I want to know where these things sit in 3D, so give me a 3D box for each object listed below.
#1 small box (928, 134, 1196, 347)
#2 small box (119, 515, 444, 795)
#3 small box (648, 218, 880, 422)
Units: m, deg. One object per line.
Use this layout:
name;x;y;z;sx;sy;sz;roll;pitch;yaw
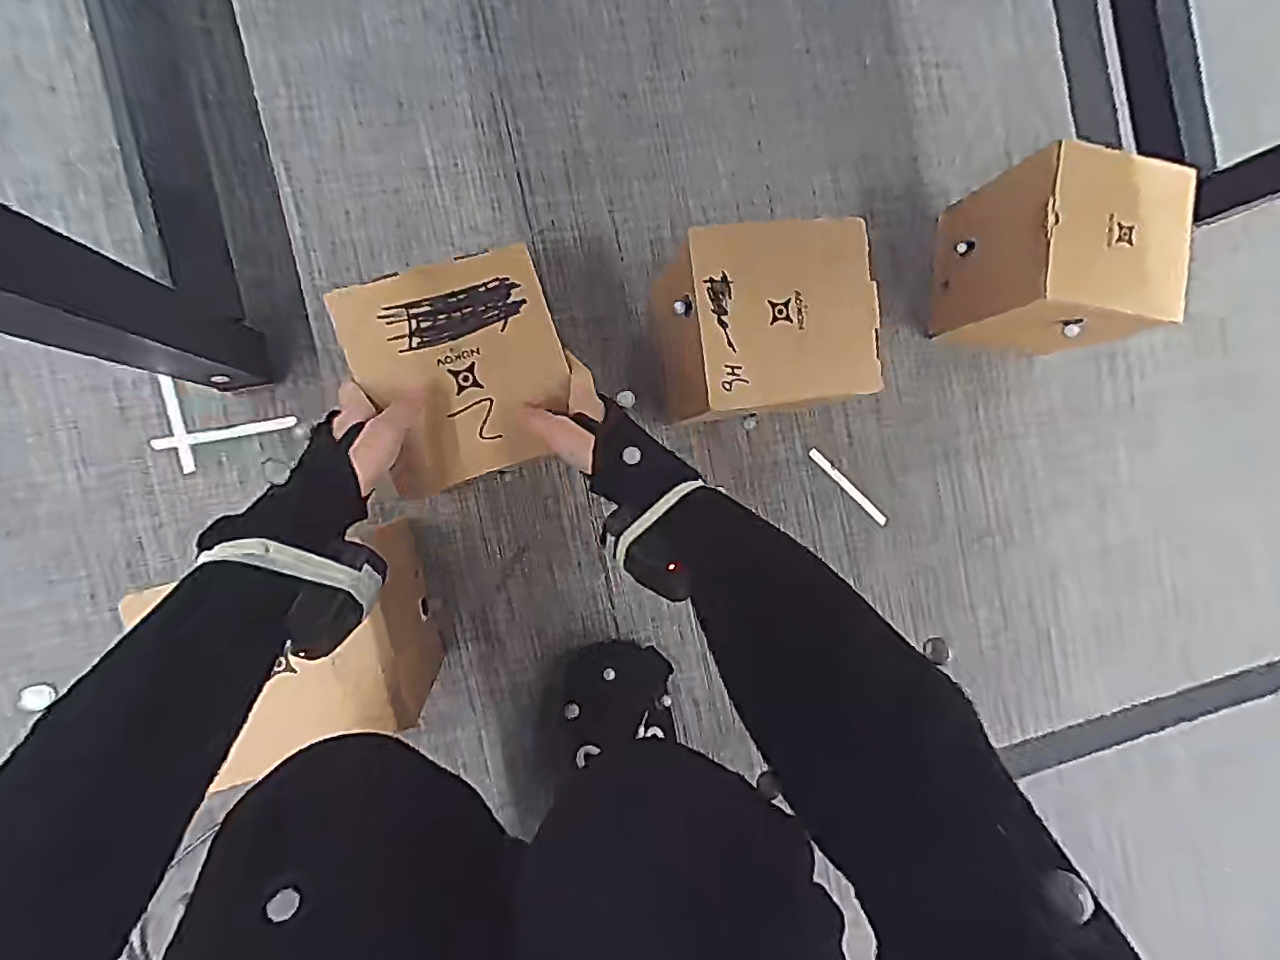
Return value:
small box;0.478;-0.260;0.633;0.179;0.176;0.168;5;91;-10
small box;-0.299;0.138;0.498;0.179;0.176;0.168;-16;96;-11
small box;0.118;-0.155;0.568;0.179;0.176;0.168;-8;93;-10
